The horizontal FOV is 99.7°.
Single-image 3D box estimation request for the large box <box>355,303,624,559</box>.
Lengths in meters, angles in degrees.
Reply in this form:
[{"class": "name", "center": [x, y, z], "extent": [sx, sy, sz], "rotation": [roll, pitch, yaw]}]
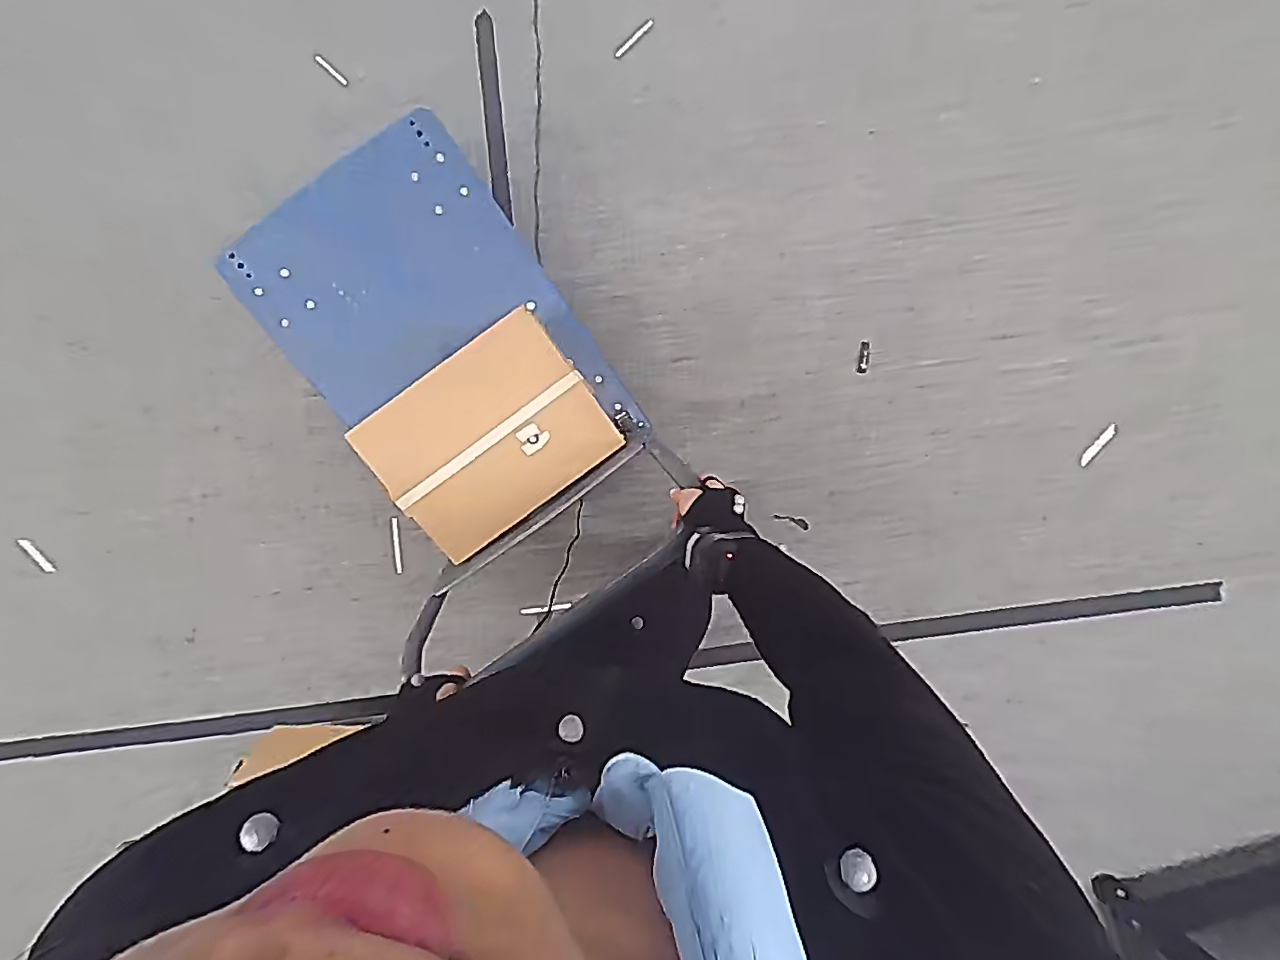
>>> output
[{"class": "large box", "center": [-0.293, -0.106, 1.149], "extent": [0.408, 0.320, 0.320], "rotation": [-37, 103, 0]}]
